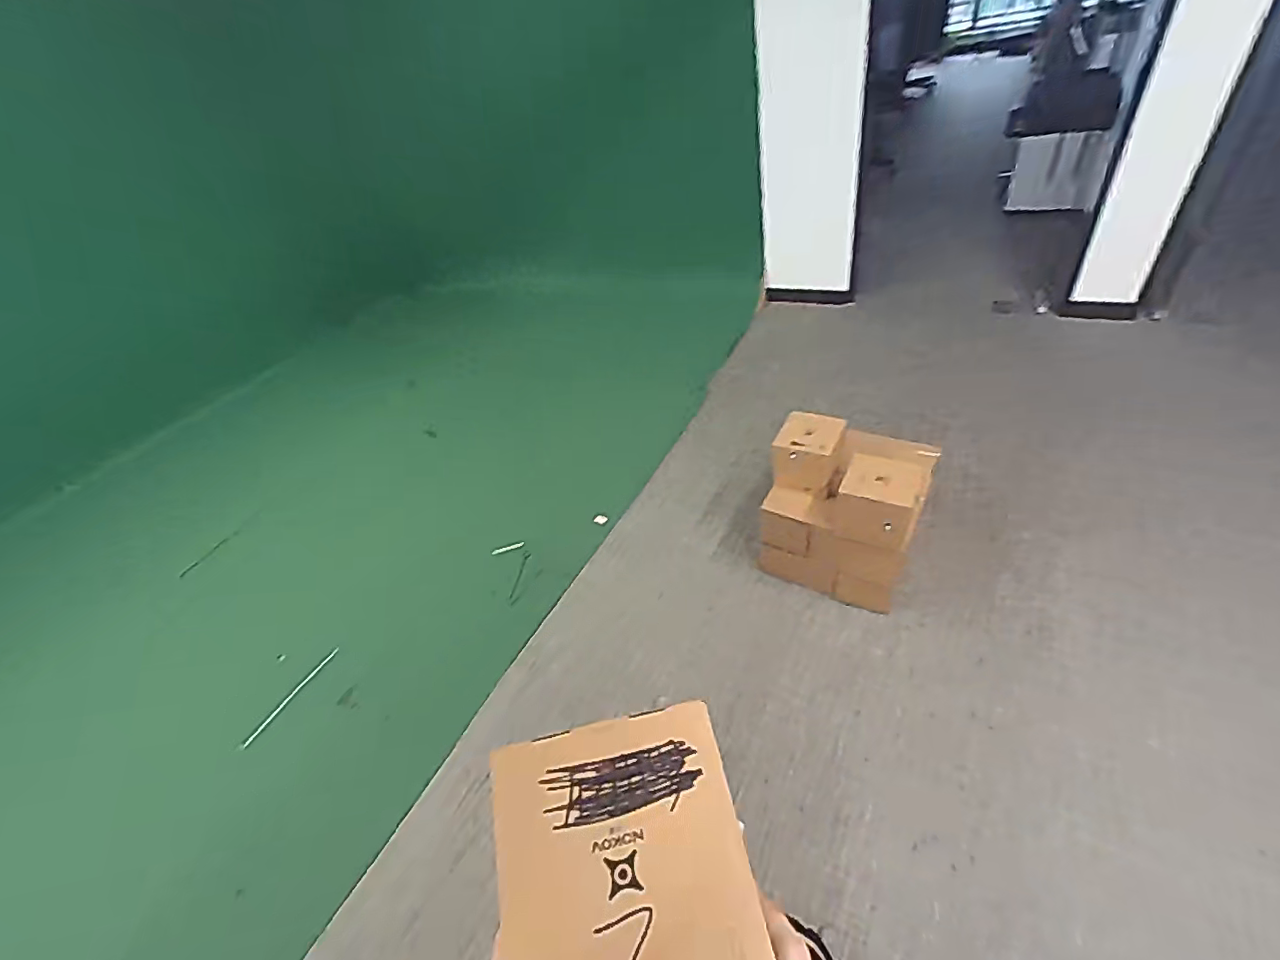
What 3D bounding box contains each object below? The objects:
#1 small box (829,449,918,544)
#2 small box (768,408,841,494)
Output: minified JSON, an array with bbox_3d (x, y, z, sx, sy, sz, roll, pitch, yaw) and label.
[{"bbox_3d":[0.617,0.045,1.438,0.179,0.176,0.168,14,48,28],"label":"small box"},{"bbox_3d":[0.490,-0.088,1.619,0.168,0.176,0.179,15,48,29],"label":"small box"}]
